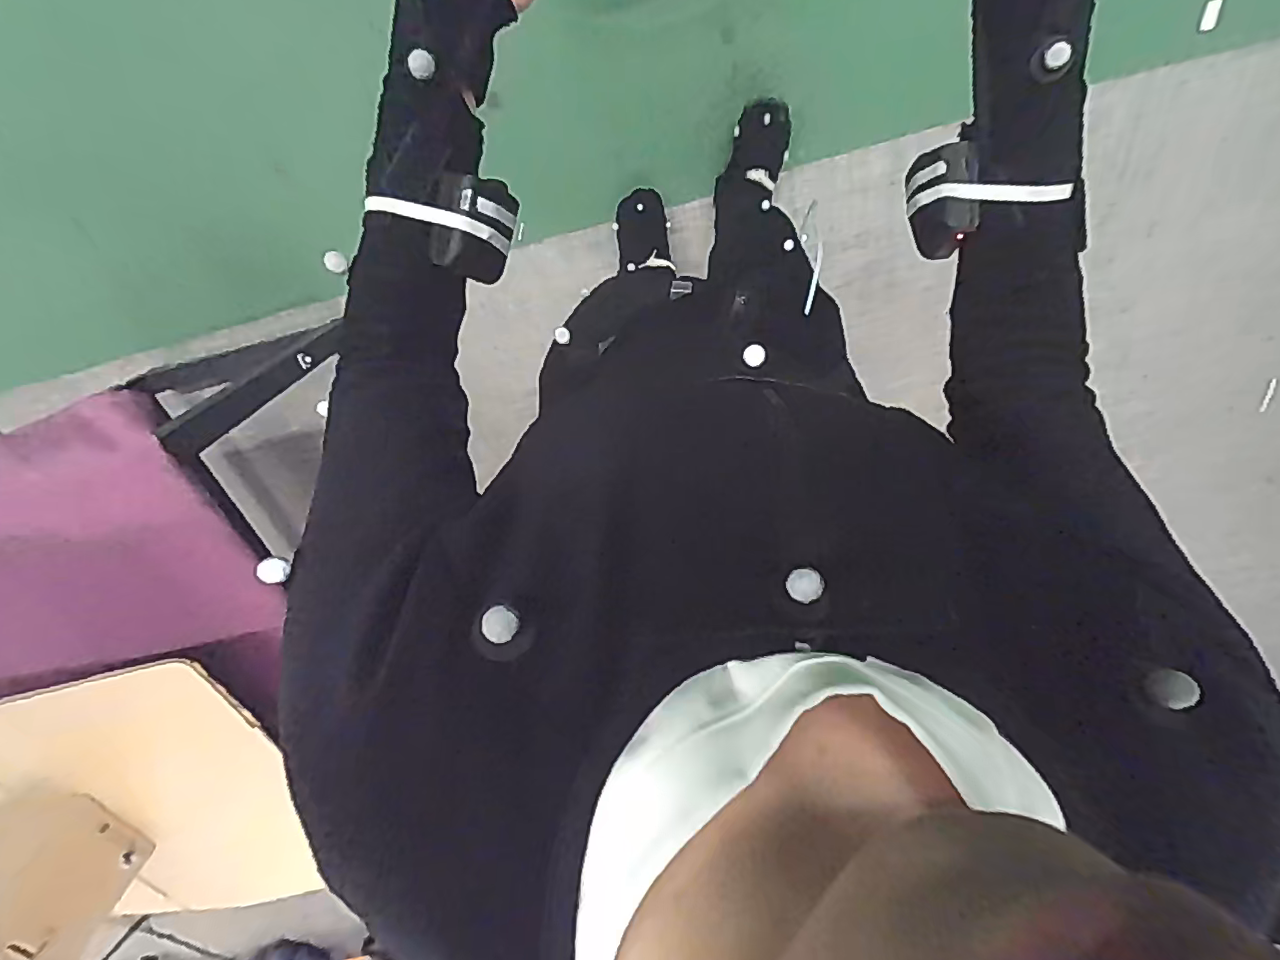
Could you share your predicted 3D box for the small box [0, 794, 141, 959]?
[{"bbox_3d":[-0.907,0.590,0.801,0.179,0.176,0.168,-9,121,7],"label":"small box"}]
